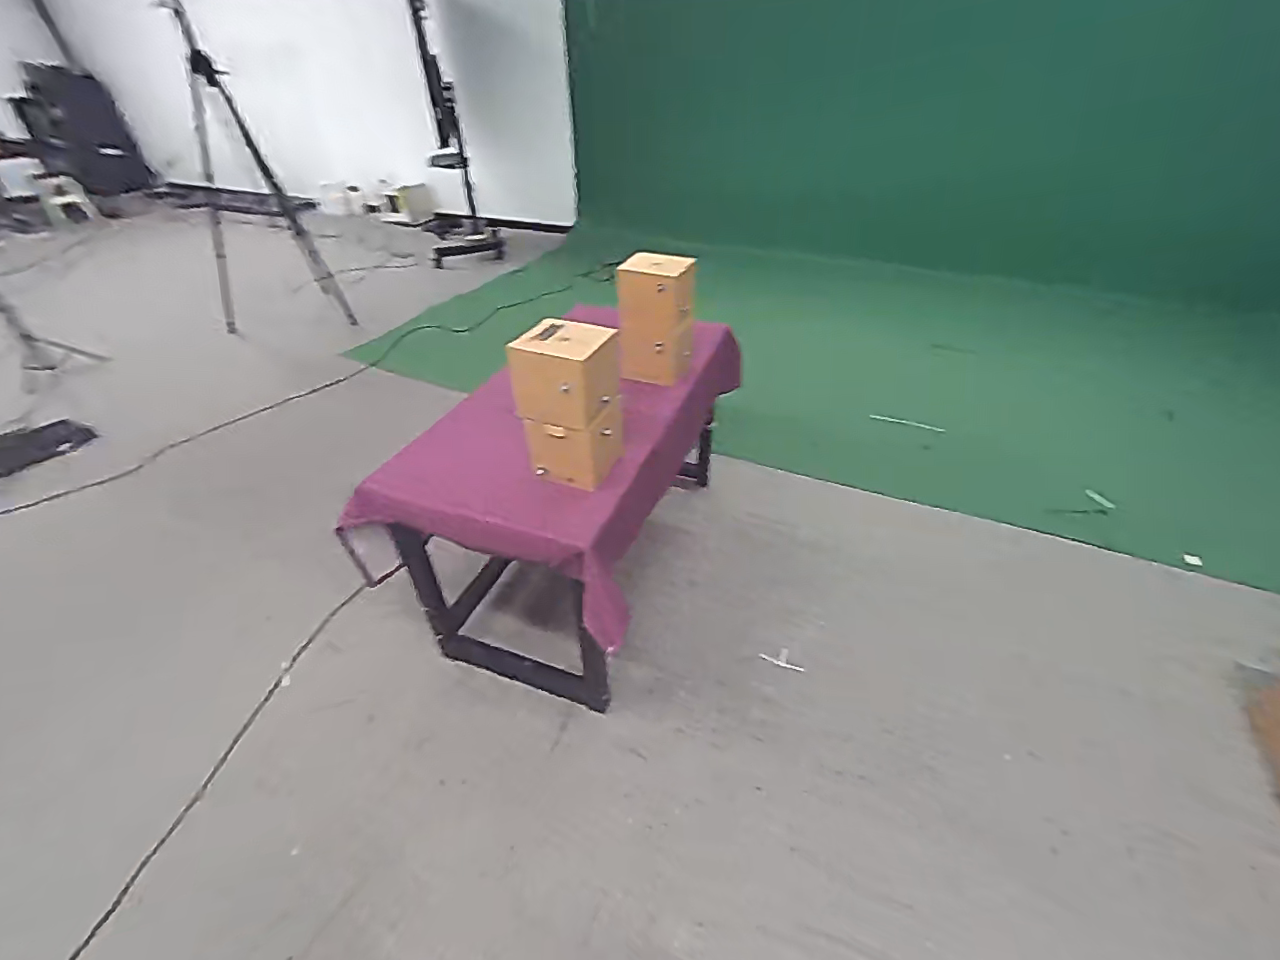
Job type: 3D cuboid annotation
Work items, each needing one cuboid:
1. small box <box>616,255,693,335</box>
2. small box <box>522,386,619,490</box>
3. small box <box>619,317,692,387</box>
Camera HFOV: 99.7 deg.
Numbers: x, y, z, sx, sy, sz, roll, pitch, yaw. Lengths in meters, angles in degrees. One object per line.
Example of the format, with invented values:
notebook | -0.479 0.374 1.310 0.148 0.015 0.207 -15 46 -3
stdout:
small box | 0.042 -0.536 1.567 0.179 0.176 0.168 16 42 17
small box | -0.155 -0.100 1.288 0.168 0.176 0.179 14 40 17
small box | 0.048 -0.404 1.664 0.179 0.176 0.168 14 41 18
